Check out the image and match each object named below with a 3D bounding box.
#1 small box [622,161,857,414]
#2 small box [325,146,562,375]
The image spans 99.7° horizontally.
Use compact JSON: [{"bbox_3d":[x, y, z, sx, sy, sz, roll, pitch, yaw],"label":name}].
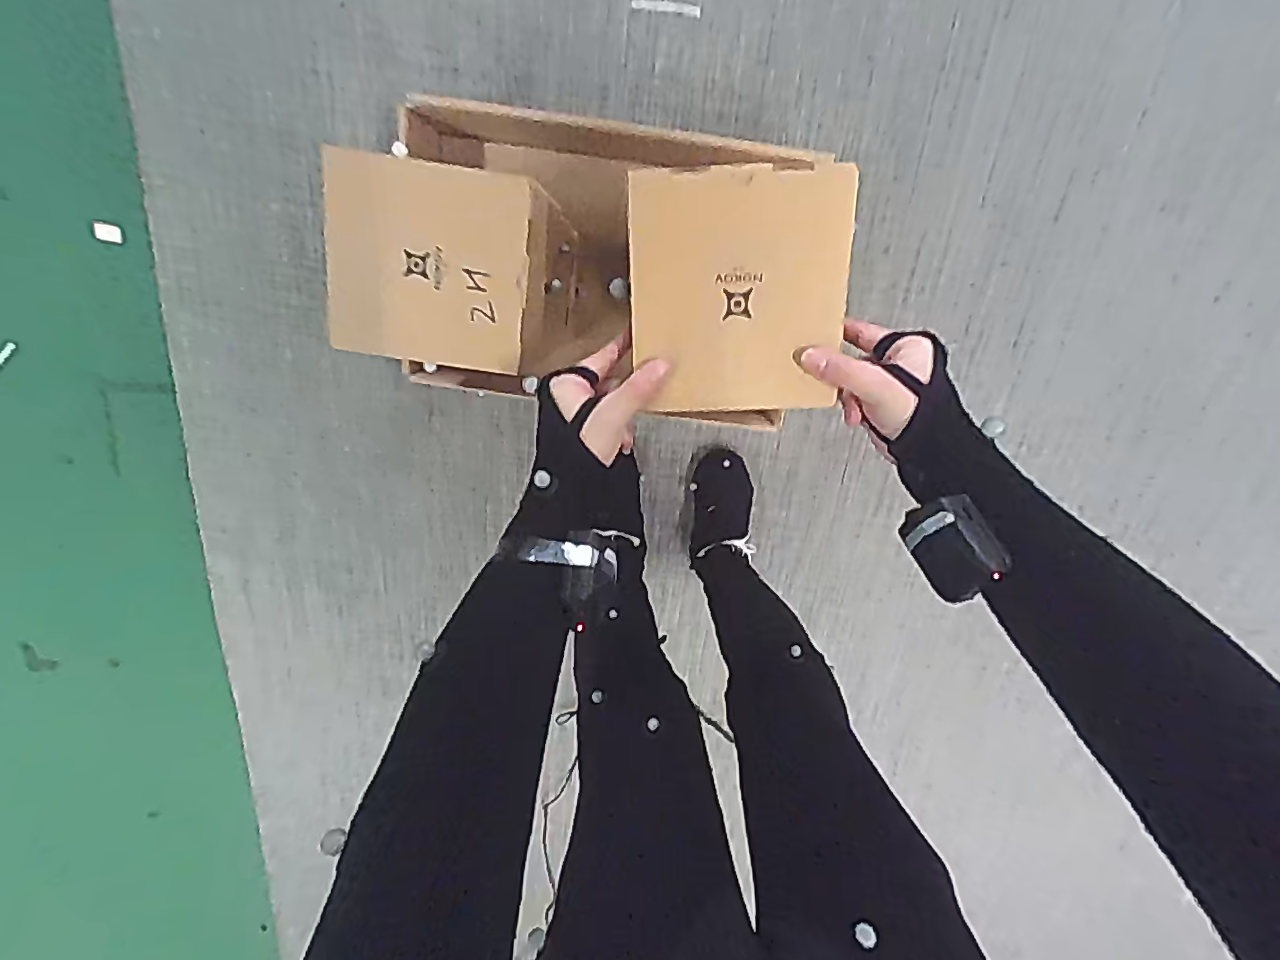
[{"bbox_3d":[0.074,-0.163,0.478,0.168,0.176,0.179,-2,109,2],"label":"small box"},{"bbox_3d":[-0.184,-0.209,0.545,0.179,0.176,0.168,8,108,-3],"label":"small box"}]
